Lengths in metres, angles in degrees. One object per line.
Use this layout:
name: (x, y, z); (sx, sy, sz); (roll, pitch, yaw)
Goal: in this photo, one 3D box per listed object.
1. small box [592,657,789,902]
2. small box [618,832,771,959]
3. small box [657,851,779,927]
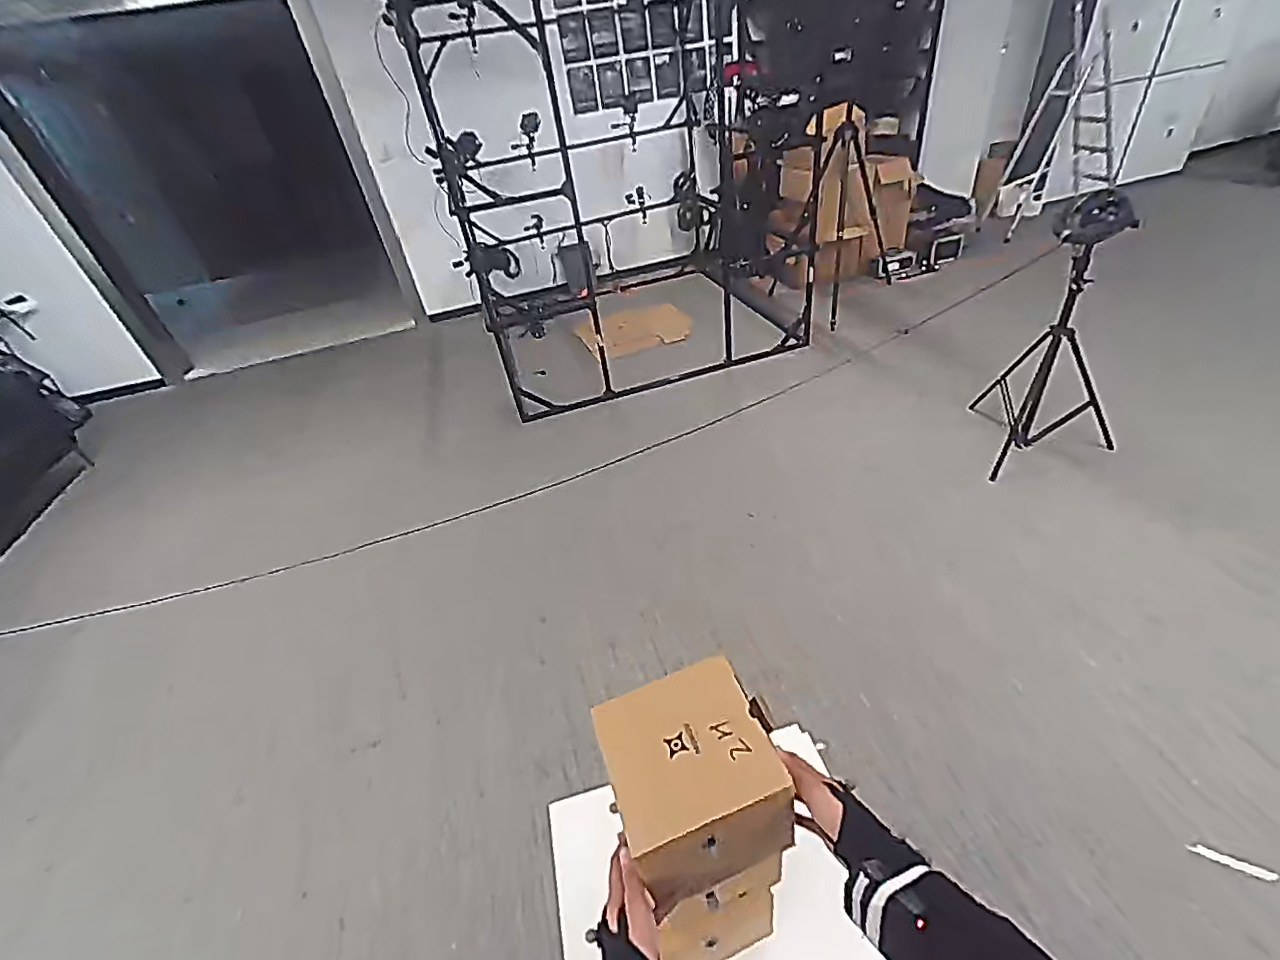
small box: (0.061, 0.349, 0.634); (0.179, 0.176, 0.168); (-19, 38, -9)
small box: (0.085, 0.617, 0.824); (0.179, 0.176, 0.168); (-19, 38, -13)
small box: (0.080, 0.472, 0.744); (0.168, 0.176, 0.179); (-19, 37, -11)
